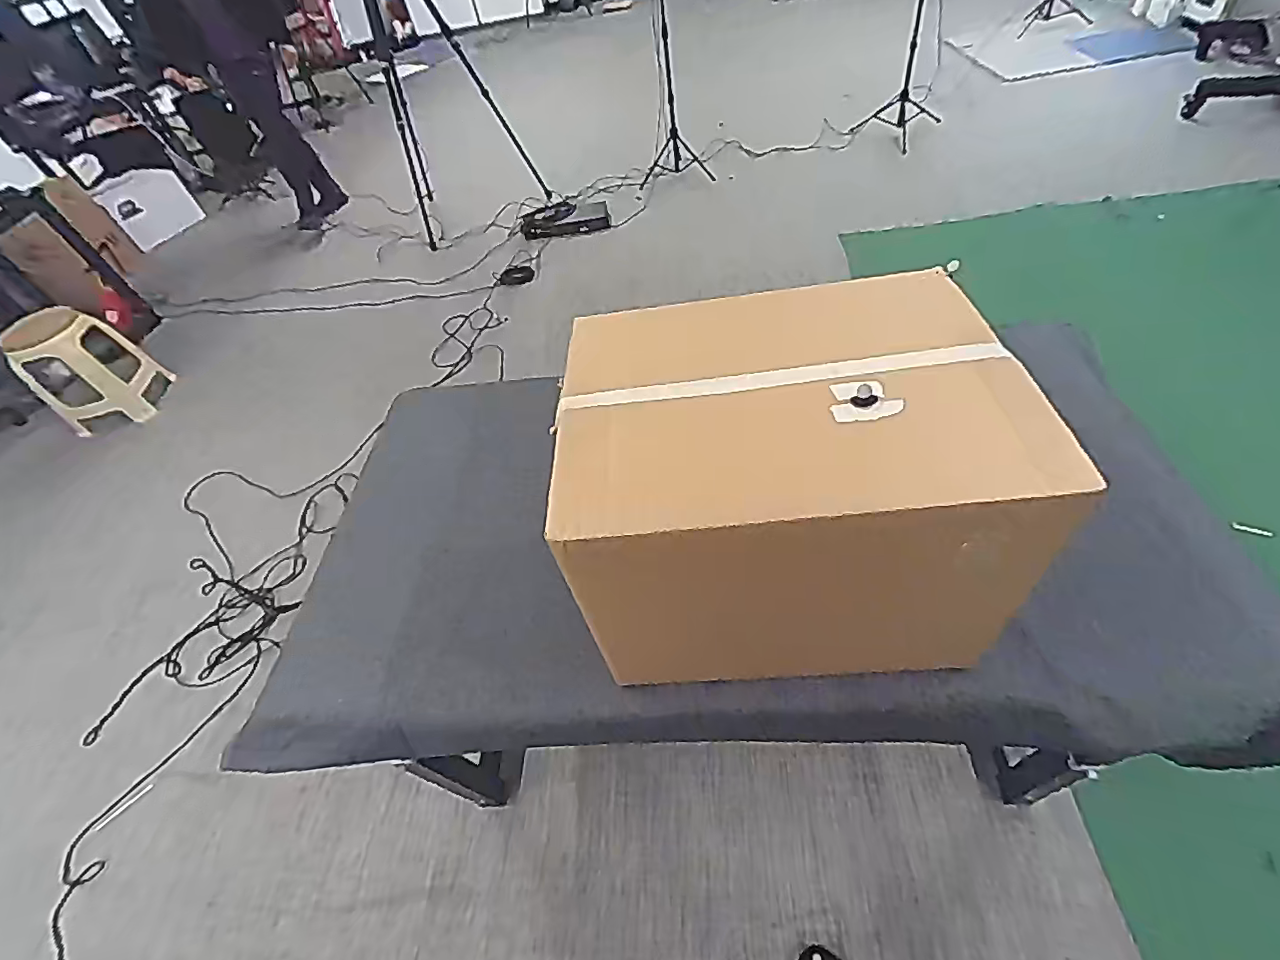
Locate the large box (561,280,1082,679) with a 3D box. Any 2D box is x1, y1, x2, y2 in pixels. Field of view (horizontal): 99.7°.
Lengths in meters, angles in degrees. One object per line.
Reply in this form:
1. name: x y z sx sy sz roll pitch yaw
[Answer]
1. large box: 0.146 0.011 0.620 0.408 0.320 0.320 -5 49 5
